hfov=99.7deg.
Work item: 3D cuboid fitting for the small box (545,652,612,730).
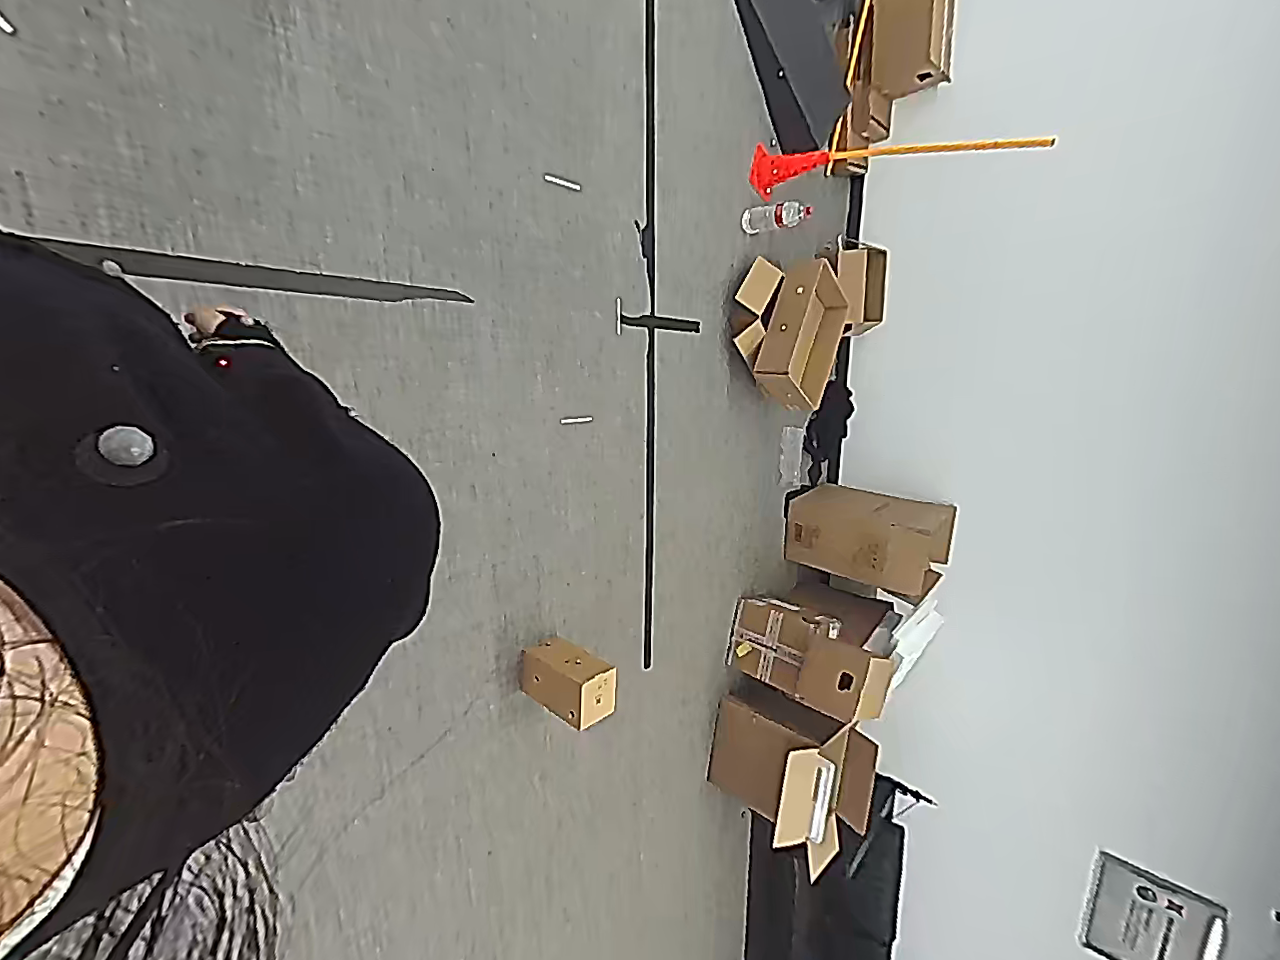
[{"bbox_3d":[-0.220,0.734,1.901,0.168,0.176,0.179,-8,104,-49],"label":"small box"}]
